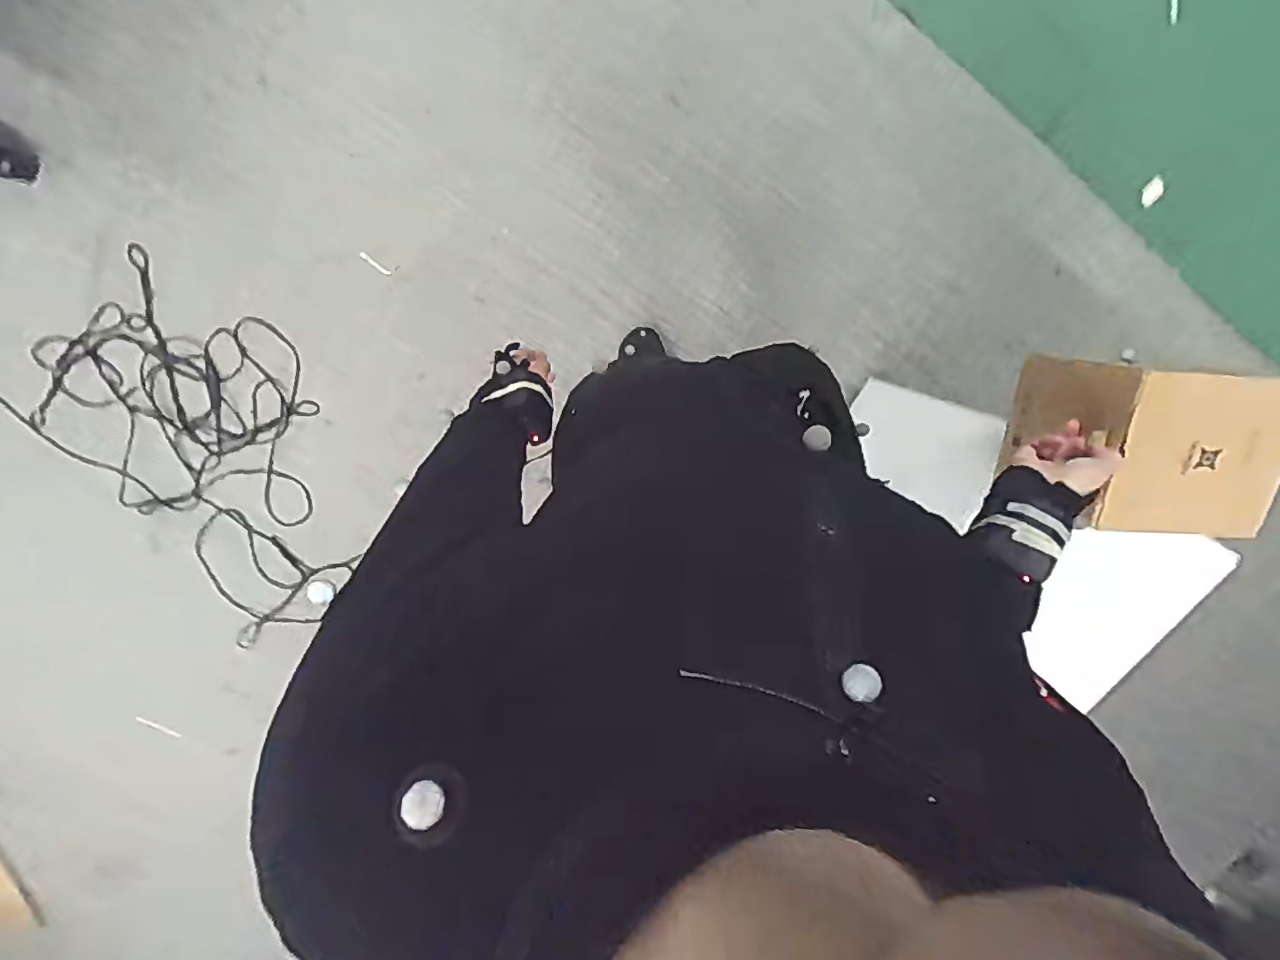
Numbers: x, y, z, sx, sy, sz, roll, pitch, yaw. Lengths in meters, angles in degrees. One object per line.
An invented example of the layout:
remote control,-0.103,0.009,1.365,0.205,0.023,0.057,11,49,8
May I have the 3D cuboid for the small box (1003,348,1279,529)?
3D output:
small box,0.551,-0.054,0.601,0.179,0.176,0.168,0,109,-2
